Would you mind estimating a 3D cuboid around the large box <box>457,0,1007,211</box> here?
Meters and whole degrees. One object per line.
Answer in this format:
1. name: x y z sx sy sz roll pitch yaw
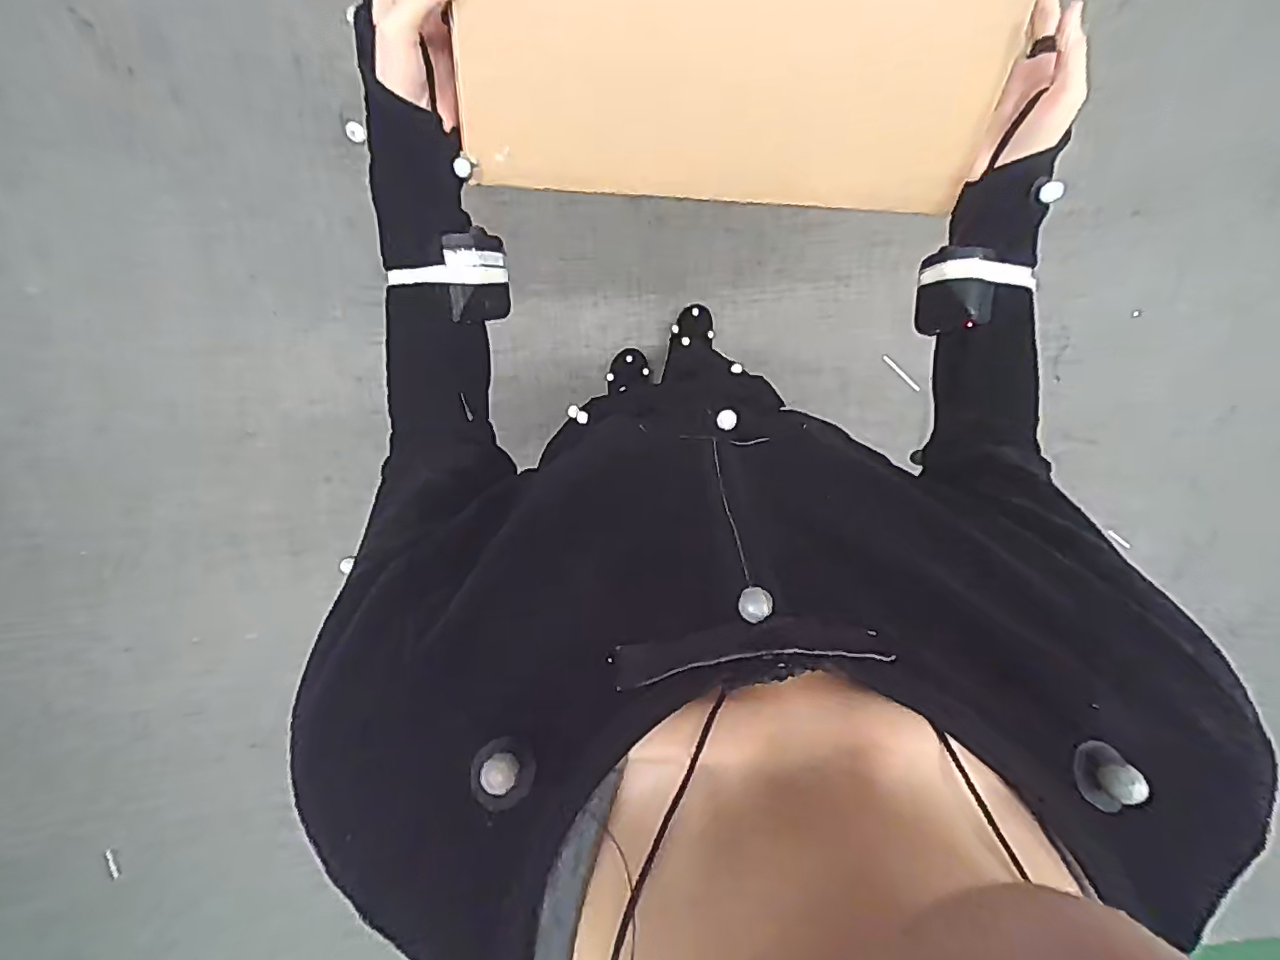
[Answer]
1. large box: 0.057 -0.441 0.483 0.408 0.320 0.320 -2 124 -9
